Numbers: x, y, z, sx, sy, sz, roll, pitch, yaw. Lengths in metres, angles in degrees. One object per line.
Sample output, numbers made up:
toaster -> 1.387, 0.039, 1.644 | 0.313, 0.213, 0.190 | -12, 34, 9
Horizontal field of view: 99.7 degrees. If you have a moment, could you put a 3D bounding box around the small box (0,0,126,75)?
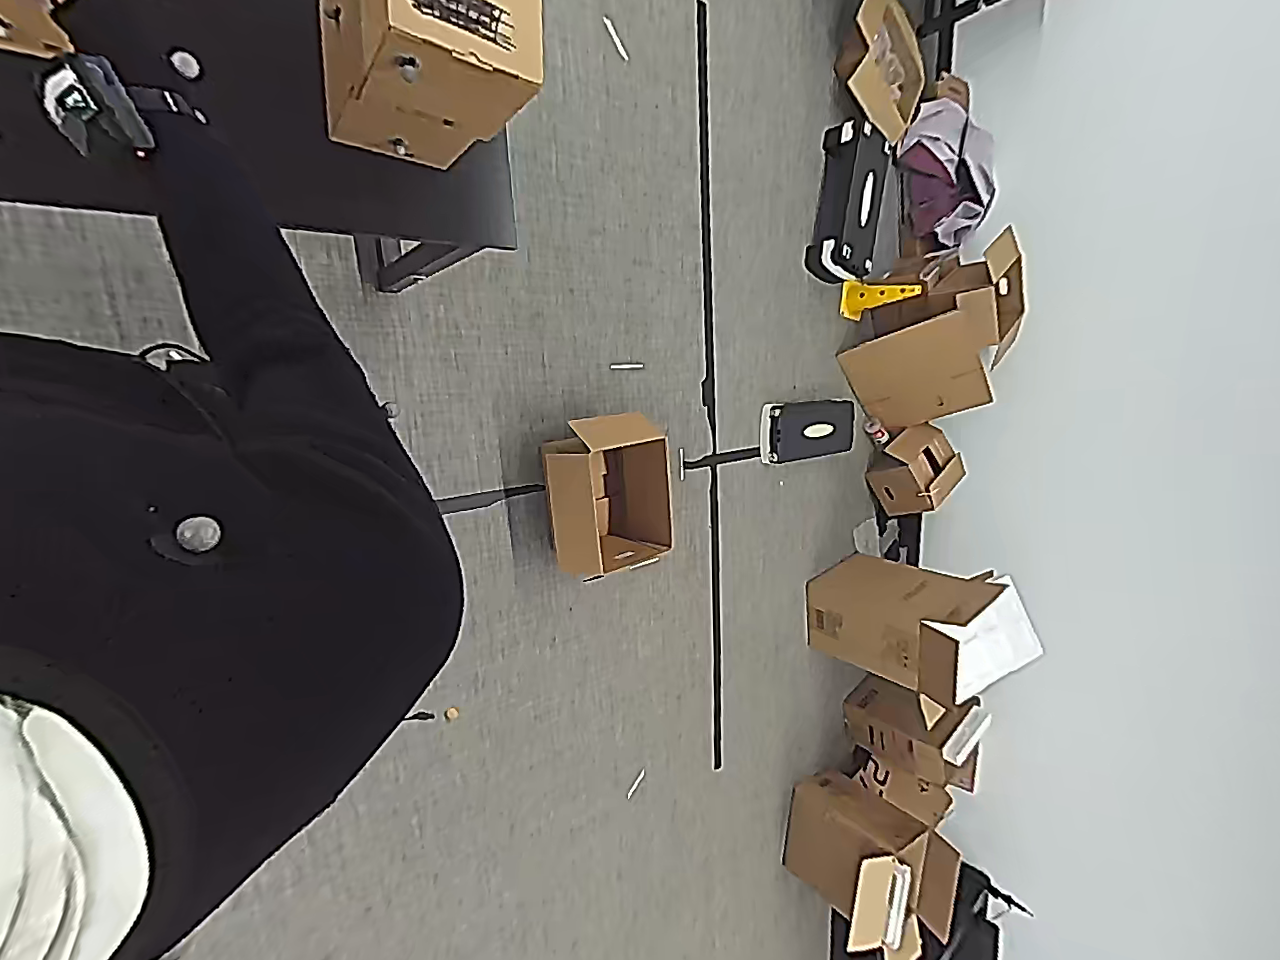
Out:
small box -> -0.616, -0.532, 0.506 | 0.168, 0.176, 0.179 | -13, 106, -37

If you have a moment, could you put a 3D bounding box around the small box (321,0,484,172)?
small box -> -0.324, -0.556, 0.736 | 0.168, 0.176, 0.179 | -6, 101, -37
